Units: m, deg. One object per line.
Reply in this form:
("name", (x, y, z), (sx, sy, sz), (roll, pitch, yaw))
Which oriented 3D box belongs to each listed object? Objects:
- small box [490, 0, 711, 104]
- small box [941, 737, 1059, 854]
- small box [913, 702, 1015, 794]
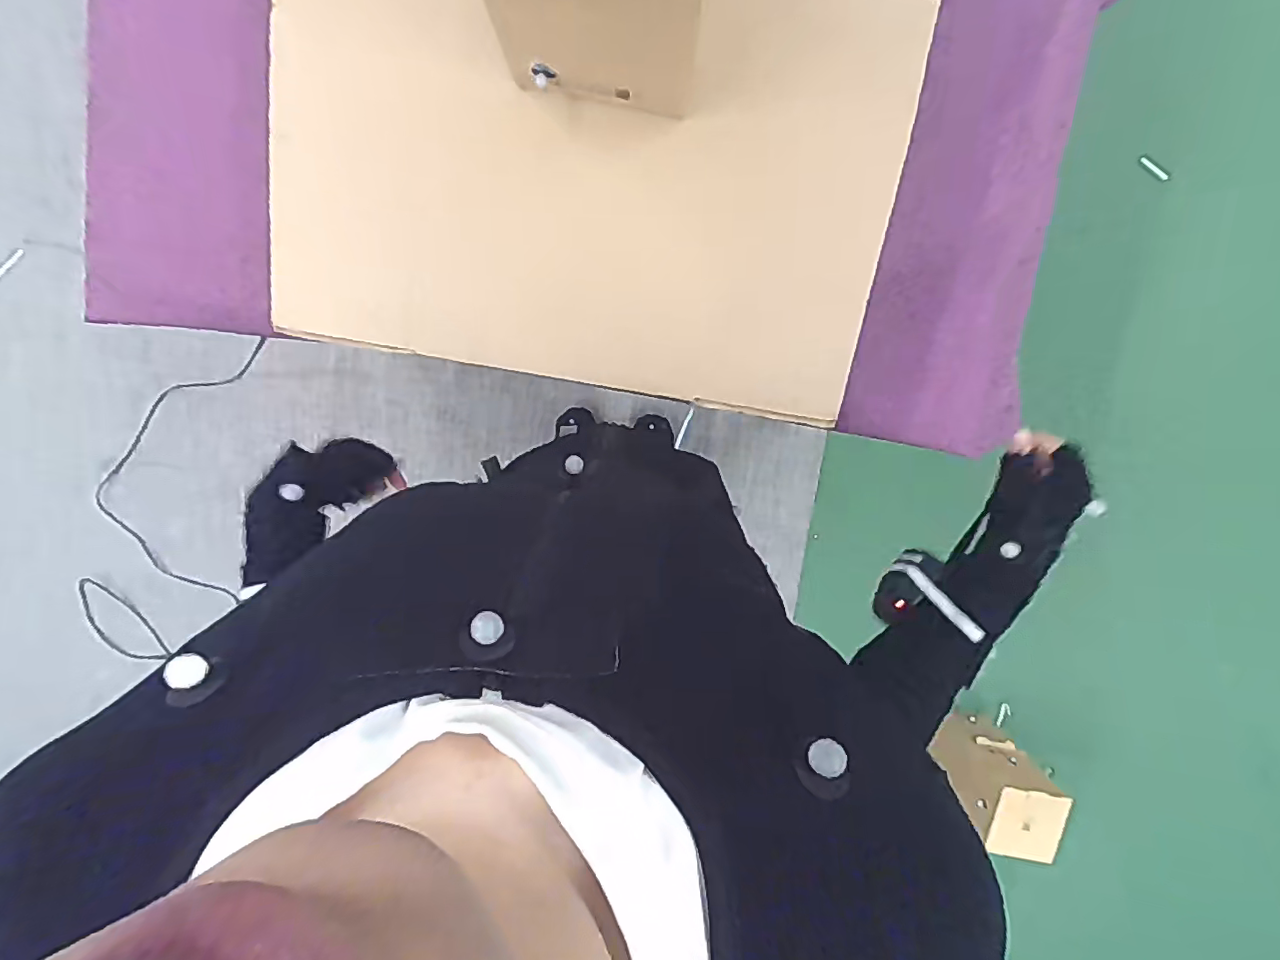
("small box", (-0.021, -0.428, 0.414), (0.168, 0.176, 0.179), (7, 99, -1))
("small box", (0.892, 0.787, 1.361), (0.168, 0.176, 0.179), (10, 99, -1))
("small box", (0.900, 0.761, 1.522), (0.168, 0.176, 0.179), (9, 99, -1))
